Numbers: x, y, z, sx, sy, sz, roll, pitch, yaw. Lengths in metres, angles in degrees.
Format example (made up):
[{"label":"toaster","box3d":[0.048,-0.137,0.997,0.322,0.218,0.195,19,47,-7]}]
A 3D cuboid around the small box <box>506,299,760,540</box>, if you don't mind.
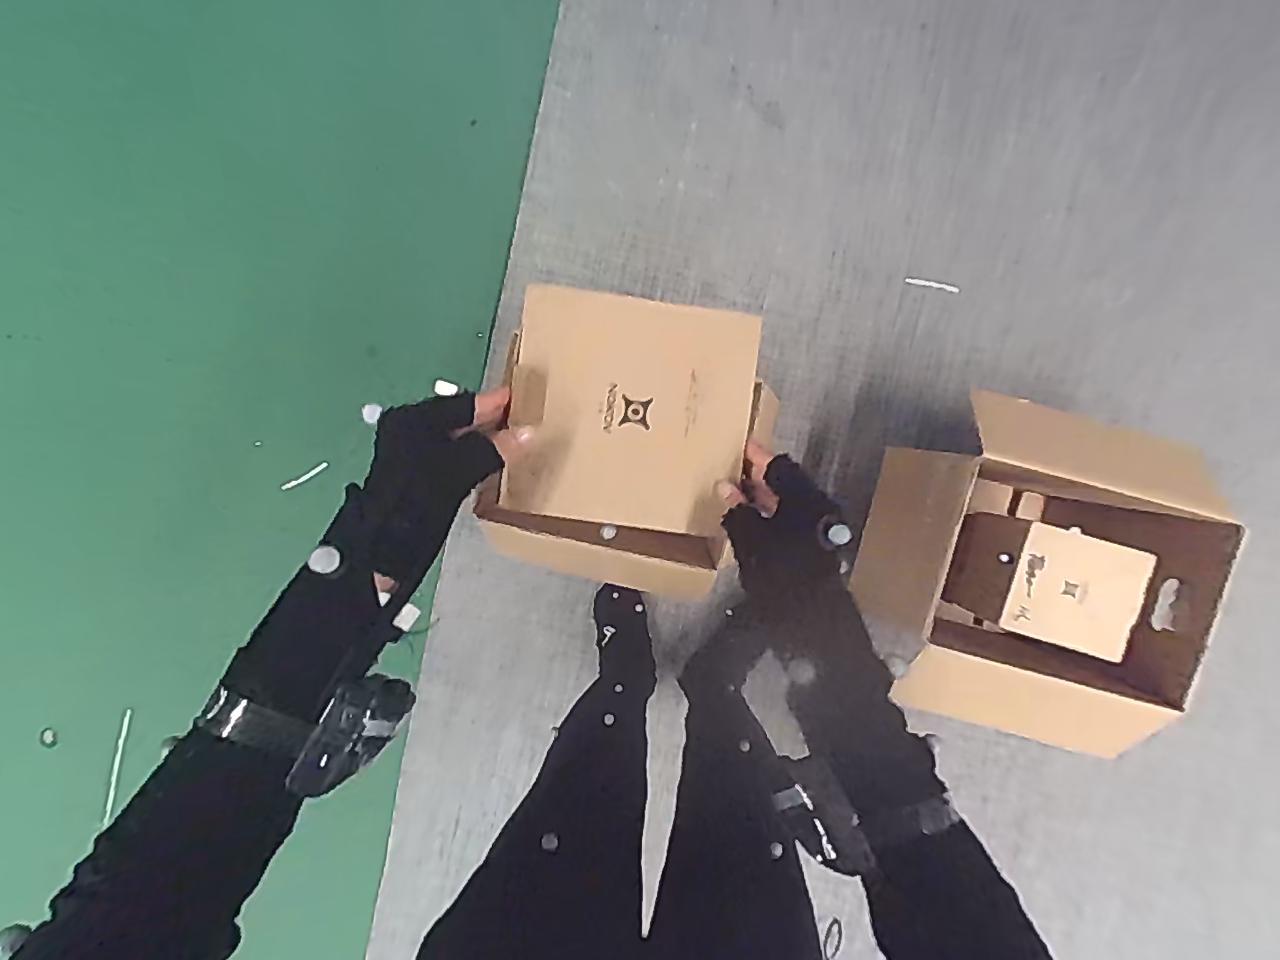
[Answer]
[{"label":"small box","box3d":[-0.009,-0.045,0.485,0.179,0.176,0.168,7,90,-4]}]
